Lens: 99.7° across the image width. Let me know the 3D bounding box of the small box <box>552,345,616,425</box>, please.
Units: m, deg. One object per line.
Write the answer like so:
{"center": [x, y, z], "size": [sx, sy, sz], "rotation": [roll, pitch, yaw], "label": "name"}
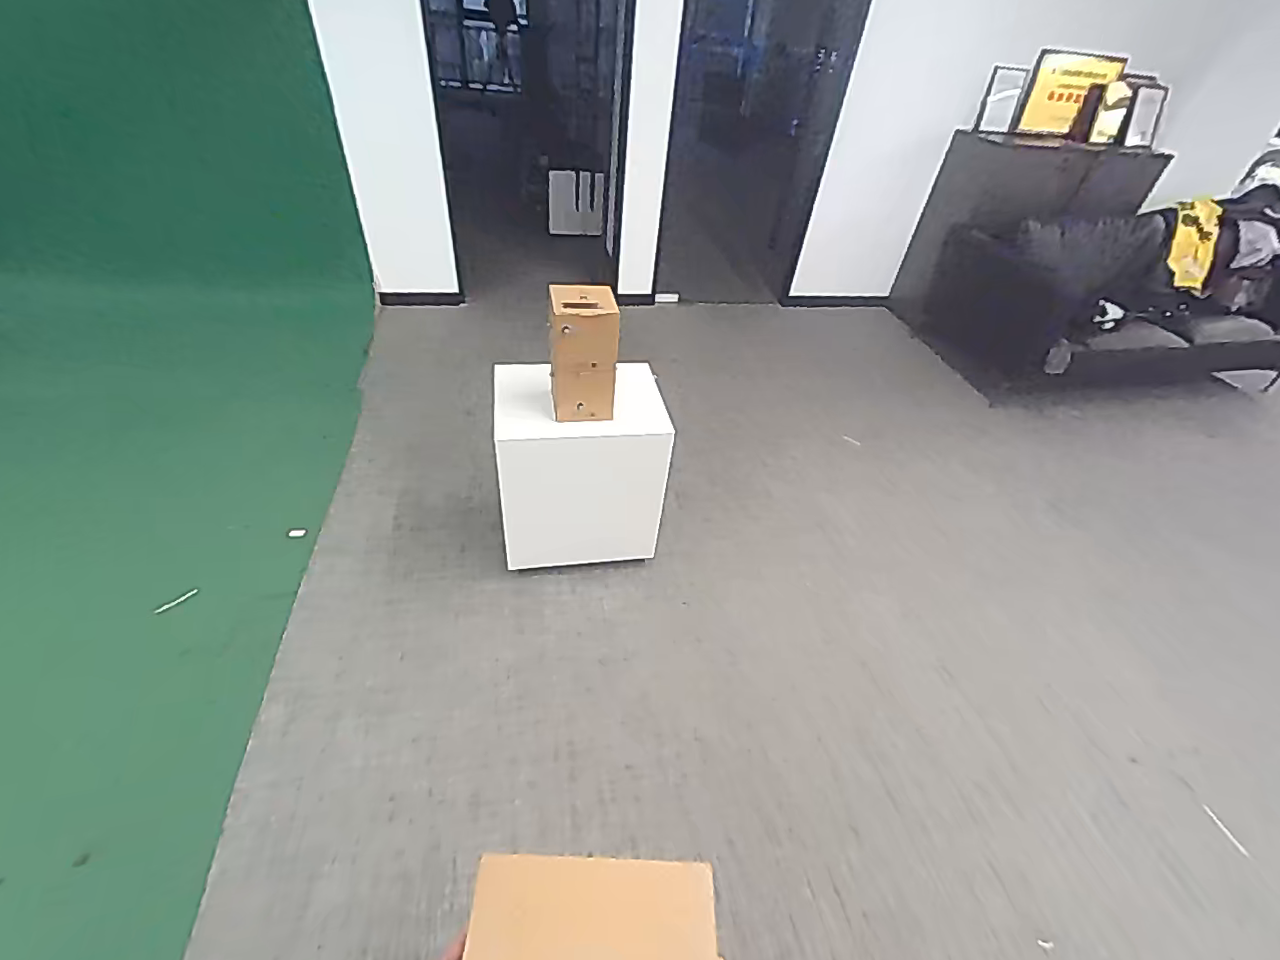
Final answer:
{"center": [-0.167, -0.274, 1.561], "size": [0.168, 0.176, 0.179], "rotation": [-4, 41, -12], "label": "small box"}
